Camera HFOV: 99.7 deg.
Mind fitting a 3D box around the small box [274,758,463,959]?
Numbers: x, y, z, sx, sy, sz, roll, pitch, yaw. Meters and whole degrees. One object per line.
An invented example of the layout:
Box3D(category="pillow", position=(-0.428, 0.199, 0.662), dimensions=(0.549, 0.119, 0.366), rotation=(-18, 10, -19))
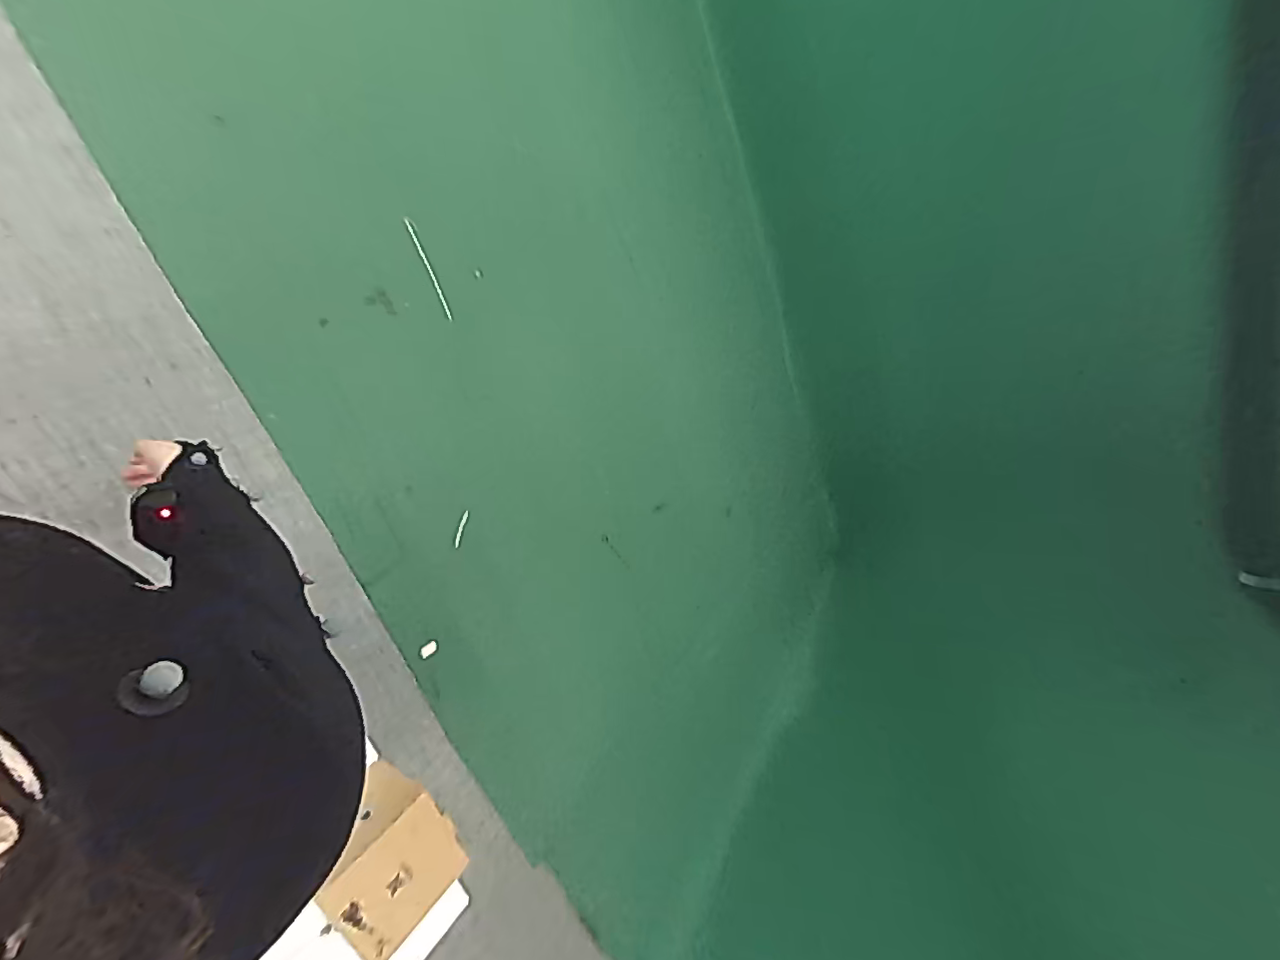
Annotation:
Box3D(category="small box", position=(-0.418, 0.571, 0.837), dimensions=(0.179, 0.176, 0.168), rotation=(-39, 116, -44))
